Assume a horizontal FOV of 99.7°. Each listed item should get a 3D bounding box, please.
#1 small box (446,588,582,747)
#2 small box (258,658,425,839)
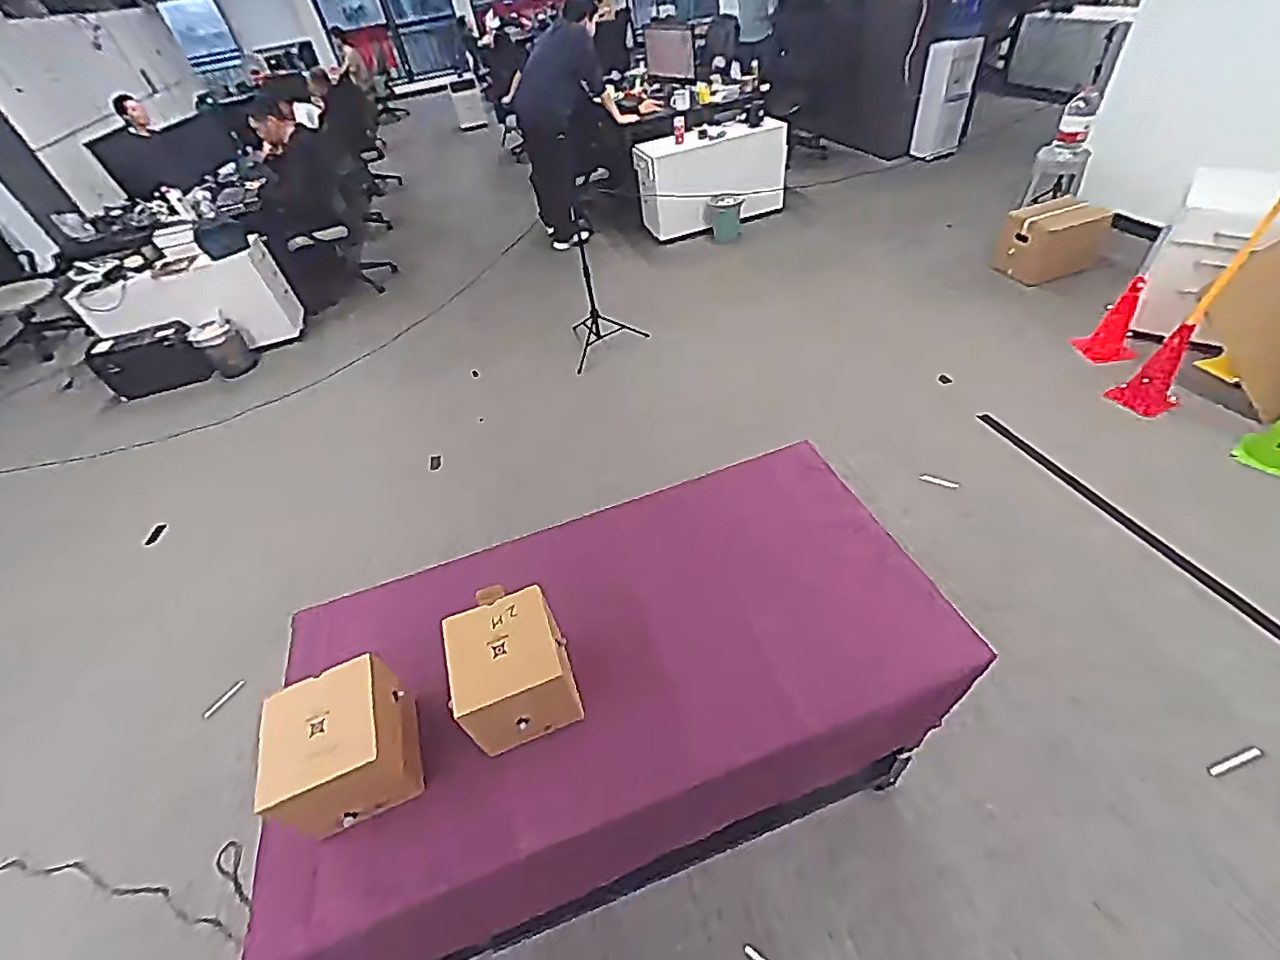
[{"bbox_3d":[-0.207,0.320,0.905,0.168,0.176,0.179,-19,45,-10],"label":"small box"},{"bbox_3d":[-0.457,0.421,0.850,0.168,0.176,0.179,-21,45,-11],"label":"small box"}]
